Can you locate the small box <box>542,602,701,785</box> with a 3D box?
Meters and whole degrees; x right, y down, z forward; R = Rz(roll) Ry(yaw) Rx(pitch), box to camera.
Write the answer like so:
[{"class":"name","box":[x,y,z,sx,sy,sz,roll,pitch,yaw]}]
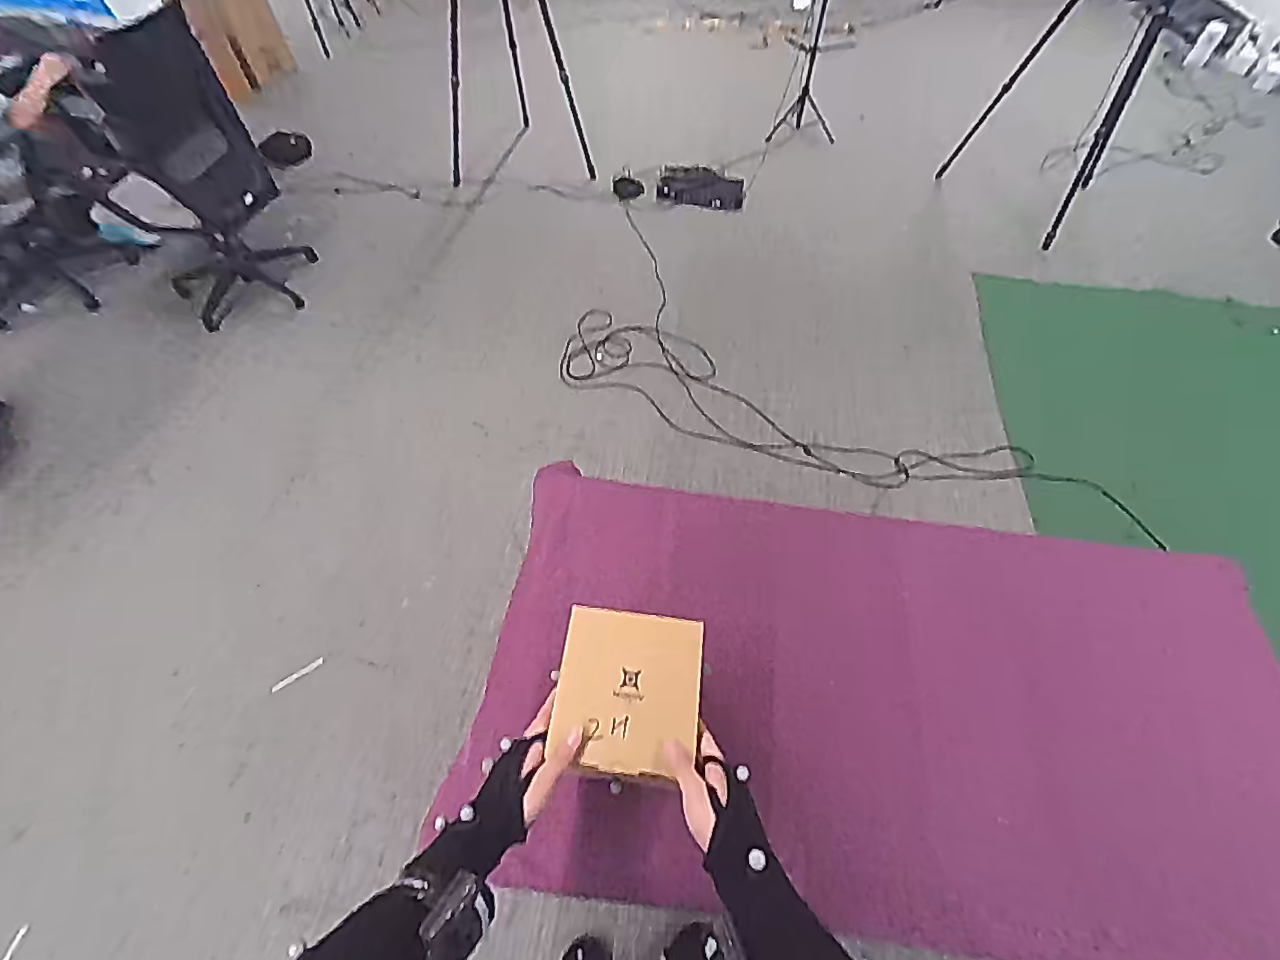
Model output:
[{"class":"small box","box":[-0.020,0.278,0.695,0.168,0.176,0.179,7,58,3]}]
